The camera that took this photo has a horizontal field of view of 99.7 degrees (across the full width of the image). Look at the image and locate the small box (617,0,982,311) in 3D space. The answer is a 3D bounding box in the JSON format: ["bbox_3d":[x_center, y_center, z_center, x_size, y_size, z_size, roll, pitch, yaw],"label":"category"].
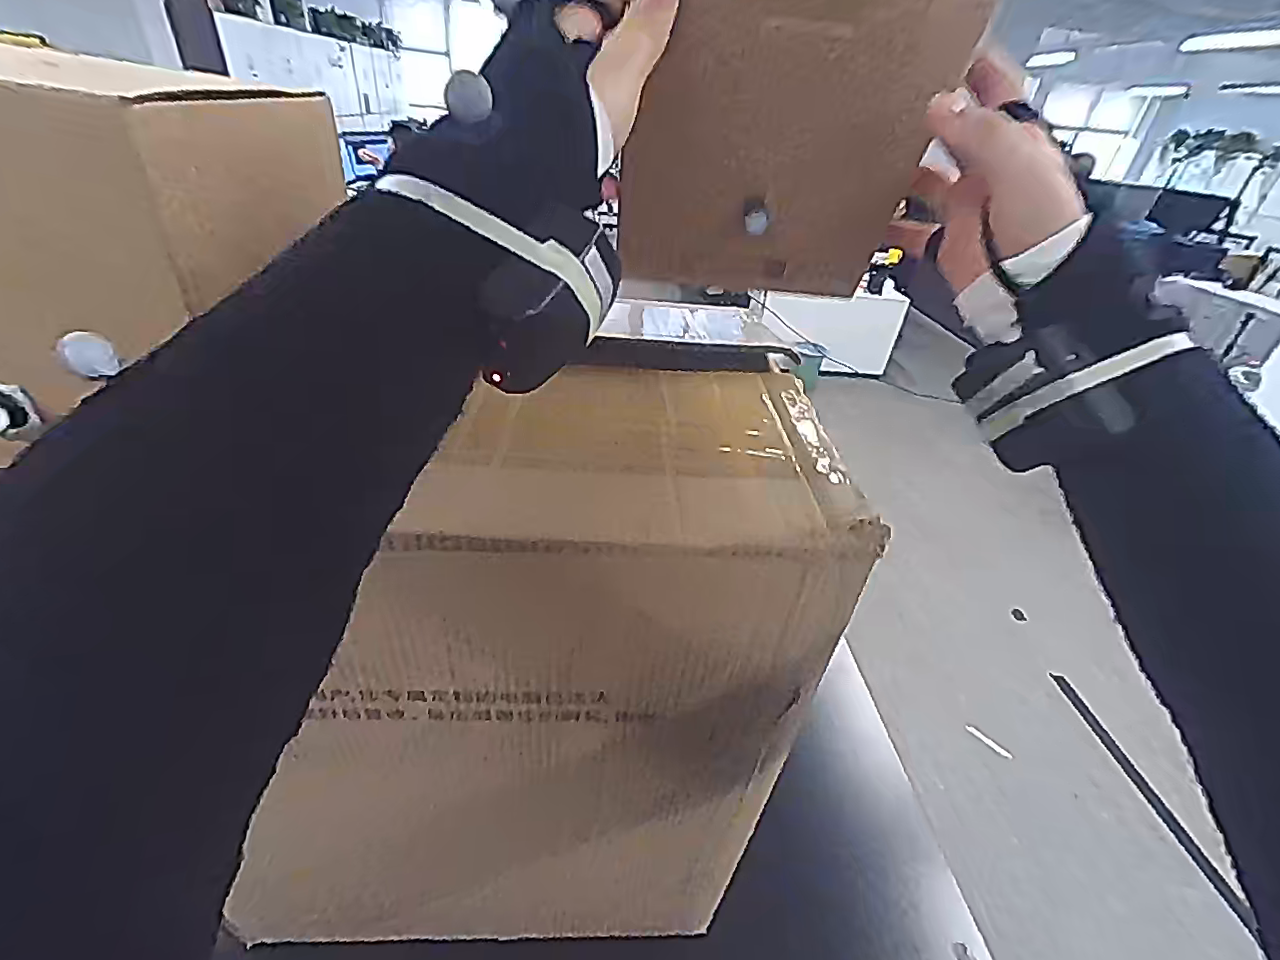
[{"bbox_3d":[0.073,-0.240,0.358,0.168,0.176,0.179,4,55,-3],"label":"small box"}]

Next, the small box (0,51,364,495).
[{"bbox_3d":[-0.267,-0.113,0.289,0.168,0.176,0.179,3,36,-7],"label":"small box"}]
